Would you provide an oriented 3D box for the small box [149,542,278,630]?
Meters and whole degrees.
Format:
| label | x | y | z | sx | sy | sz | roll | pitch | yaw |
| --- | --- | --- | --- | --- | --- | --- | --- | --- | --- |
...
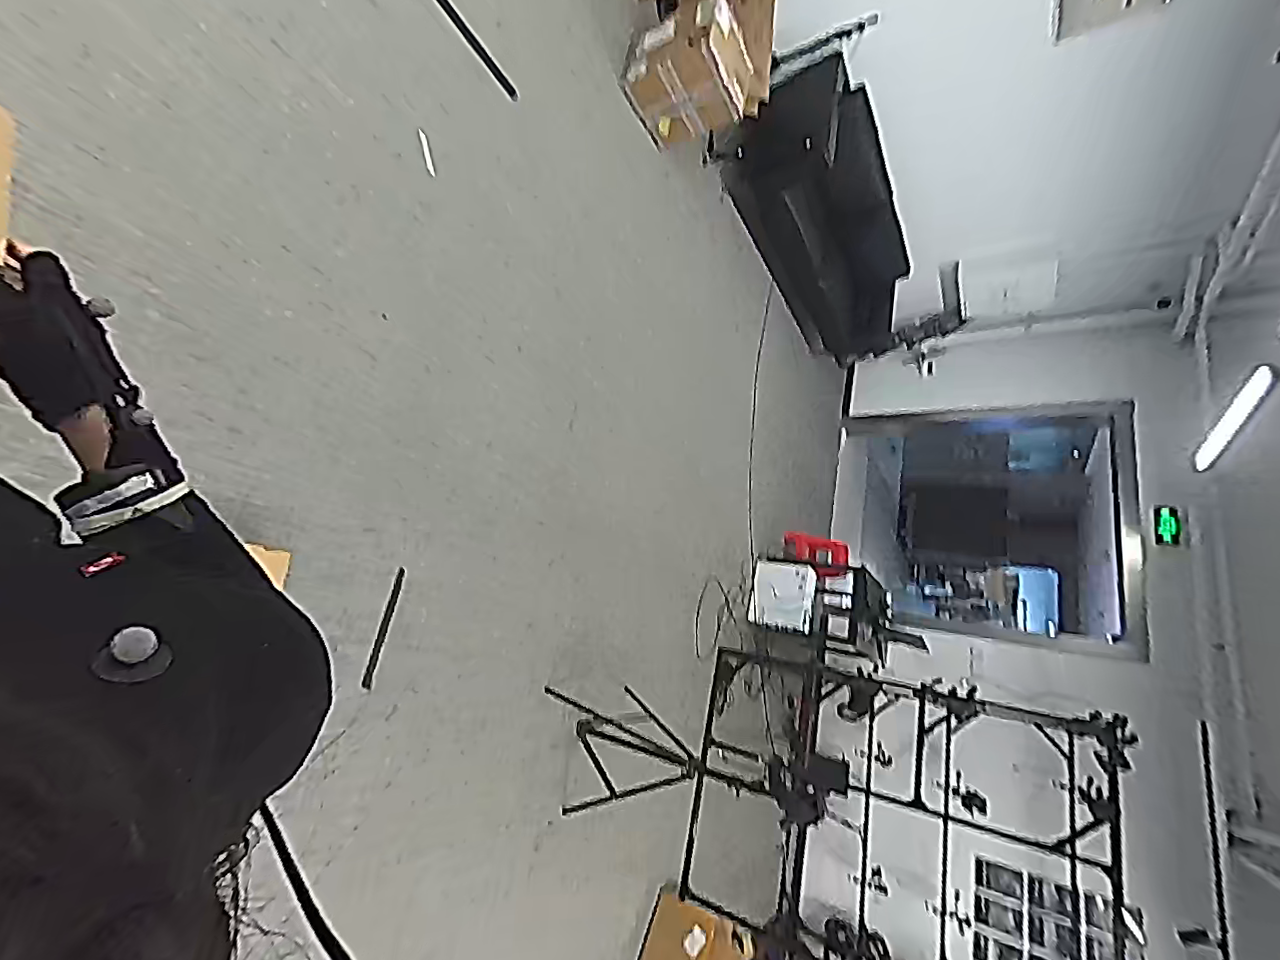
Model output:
| label | x | y | z | sx | sy | sz | roll | pitch | yaw |
| --- | --- | --- | --- | --- | --- | --- | --- | --- | --- |
| small box | -0.976 | 0.241 | 1.237 | 0.168 | 0.176 | 0.179 | 25 | 69 | -54 |
